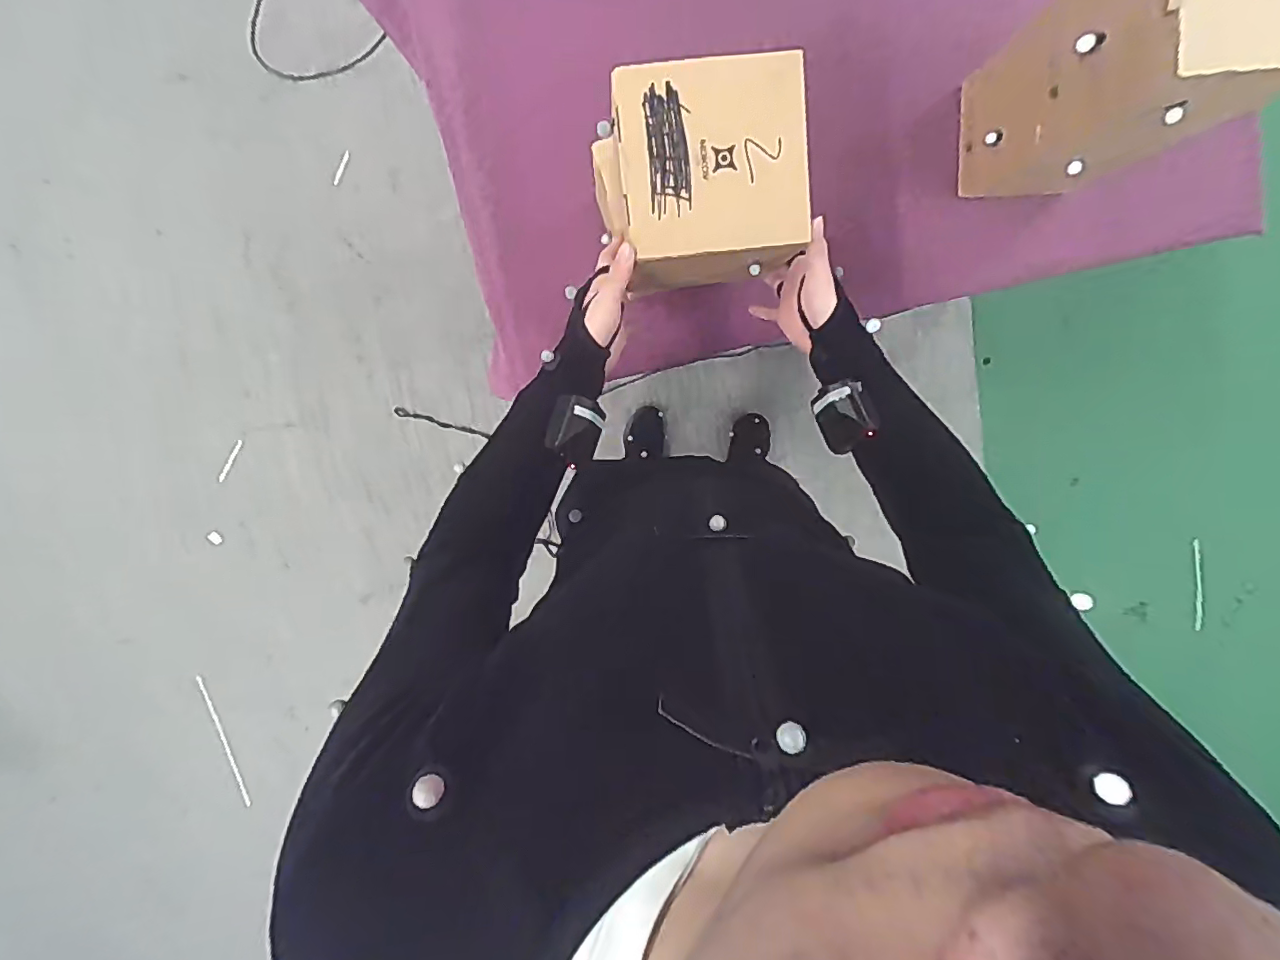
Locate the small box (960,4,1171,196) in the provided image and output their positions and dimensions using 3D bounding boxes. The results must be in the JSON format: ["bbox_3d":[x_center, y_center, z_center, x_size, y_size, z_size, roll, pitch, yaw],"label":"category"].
[{"bbox_3d":[0.573,-0.506,0.743,0.179,0.176,0.168,-3,99,-2],"label":"small box"}]

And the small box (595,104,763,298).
[{"bbox_3d":[0.046,-0.367,0.745,0.179,0.176,0.168,-18,99,1],"label":"small box"}]
